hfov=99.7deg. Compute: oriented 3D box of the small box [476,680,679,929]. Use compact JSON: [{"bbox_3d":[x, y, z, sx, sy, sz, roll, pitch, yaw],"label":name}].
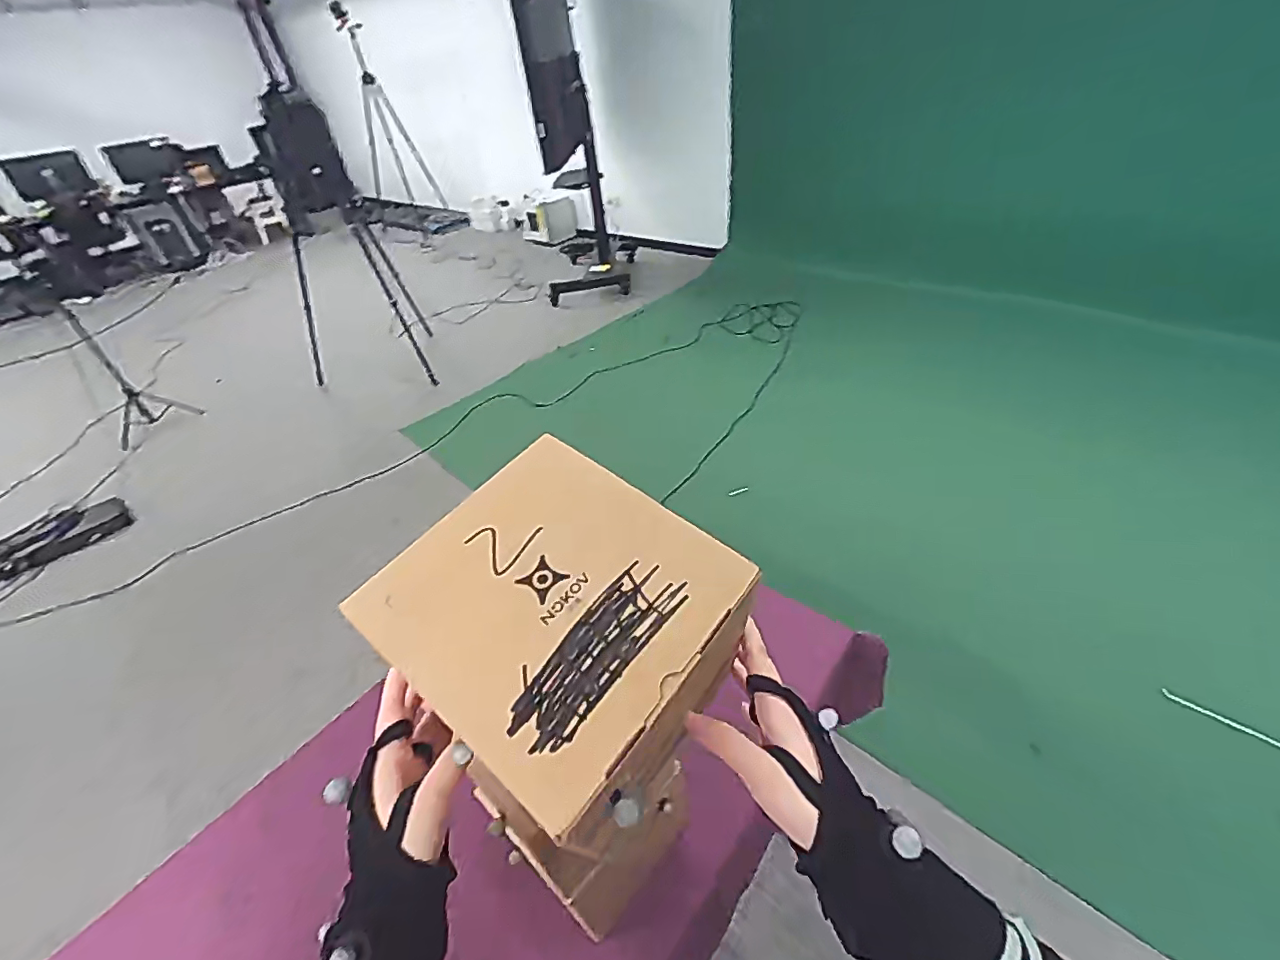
[{"bbox_3d":[-0.064,0.396,0.666,0.168,0.176,0.179,26,50,35],"label":"small box"}]
